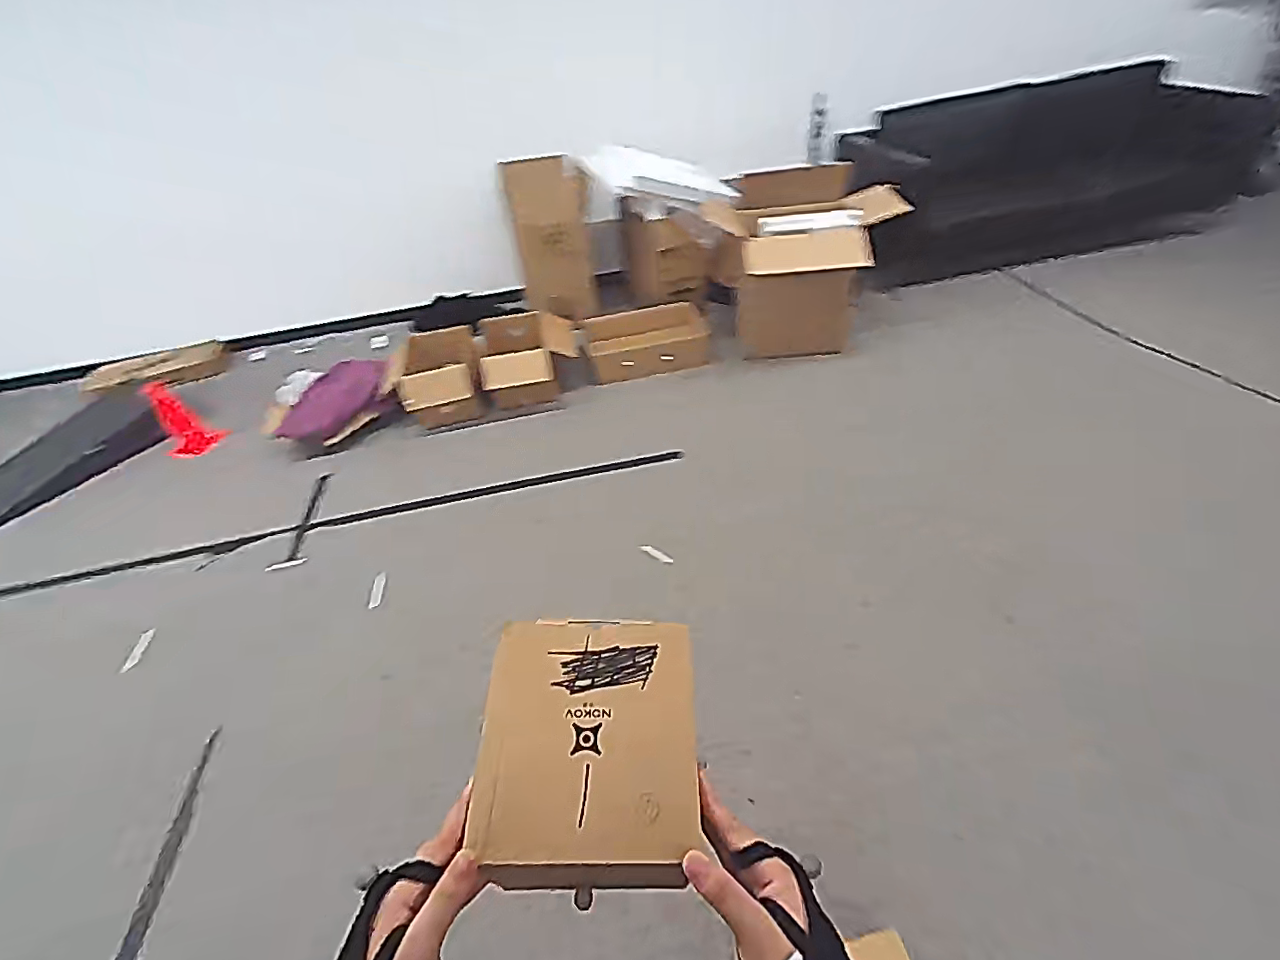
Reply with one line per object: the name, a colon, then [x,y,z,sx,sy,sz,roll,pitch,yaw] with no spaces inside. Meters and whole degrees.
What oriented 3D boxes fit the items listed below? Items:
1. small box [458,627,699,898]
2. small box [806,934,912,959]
small box: [-0.045,0.249,0.476,0.168,0.176,0.179,-1,49,-2]
small box: [0.384,0.904,0.919,0.179,0.176,0.168,-11,43,-4]
